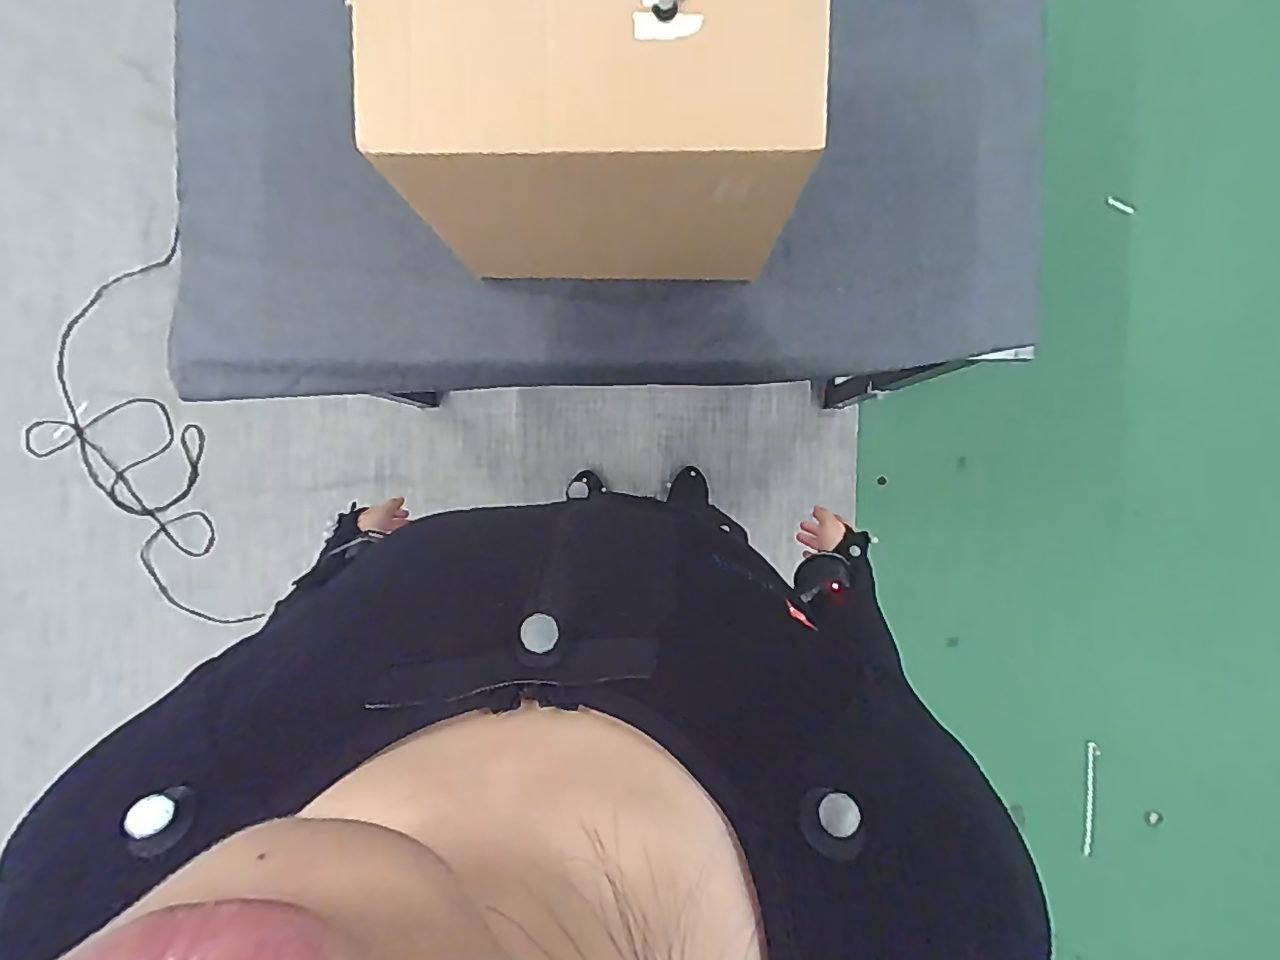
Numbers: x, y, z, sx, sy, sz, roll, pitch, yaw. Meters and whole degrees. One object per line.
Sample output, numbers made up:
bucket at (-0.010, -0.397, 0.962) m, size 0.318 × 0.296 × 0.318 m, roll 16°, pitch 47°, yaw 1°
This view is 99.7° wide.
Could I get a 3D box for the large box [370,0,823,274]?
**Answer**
large box at (-0.039, -0.447, 0.621) m, size 0.408 × 0.320 × 0.320 m, roll 0°, pitch 92°, yaw 1°
